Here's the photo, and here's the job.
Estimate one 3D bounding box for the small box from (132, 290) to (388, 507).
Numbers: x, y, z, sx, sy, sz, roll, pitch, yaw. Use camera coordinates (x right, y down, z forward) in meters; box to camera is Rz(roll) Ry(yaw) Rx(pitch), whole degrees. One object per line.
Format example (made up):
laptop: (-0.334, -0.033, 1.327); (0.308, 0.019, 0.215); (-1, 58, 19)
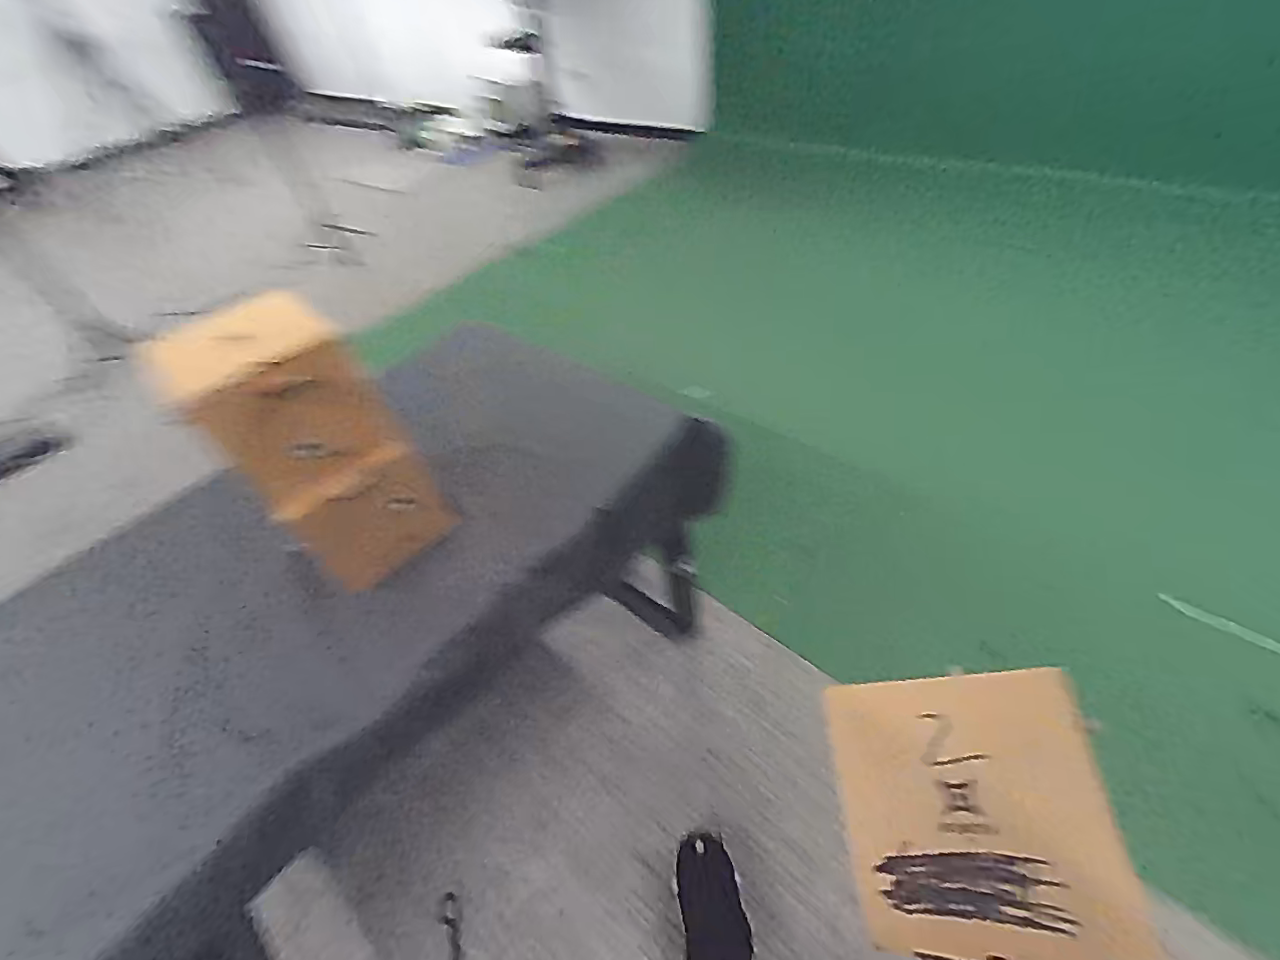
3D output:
small box: (-0.445, -0.098, 0.652); (0.179, 0.176, 0.168); (33, 59, 32)

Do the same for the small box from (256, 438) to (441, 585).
small box: (-0.414, 0.021, 0.760); (0.179, 0.176, 0.168); (31, 58, 33)
